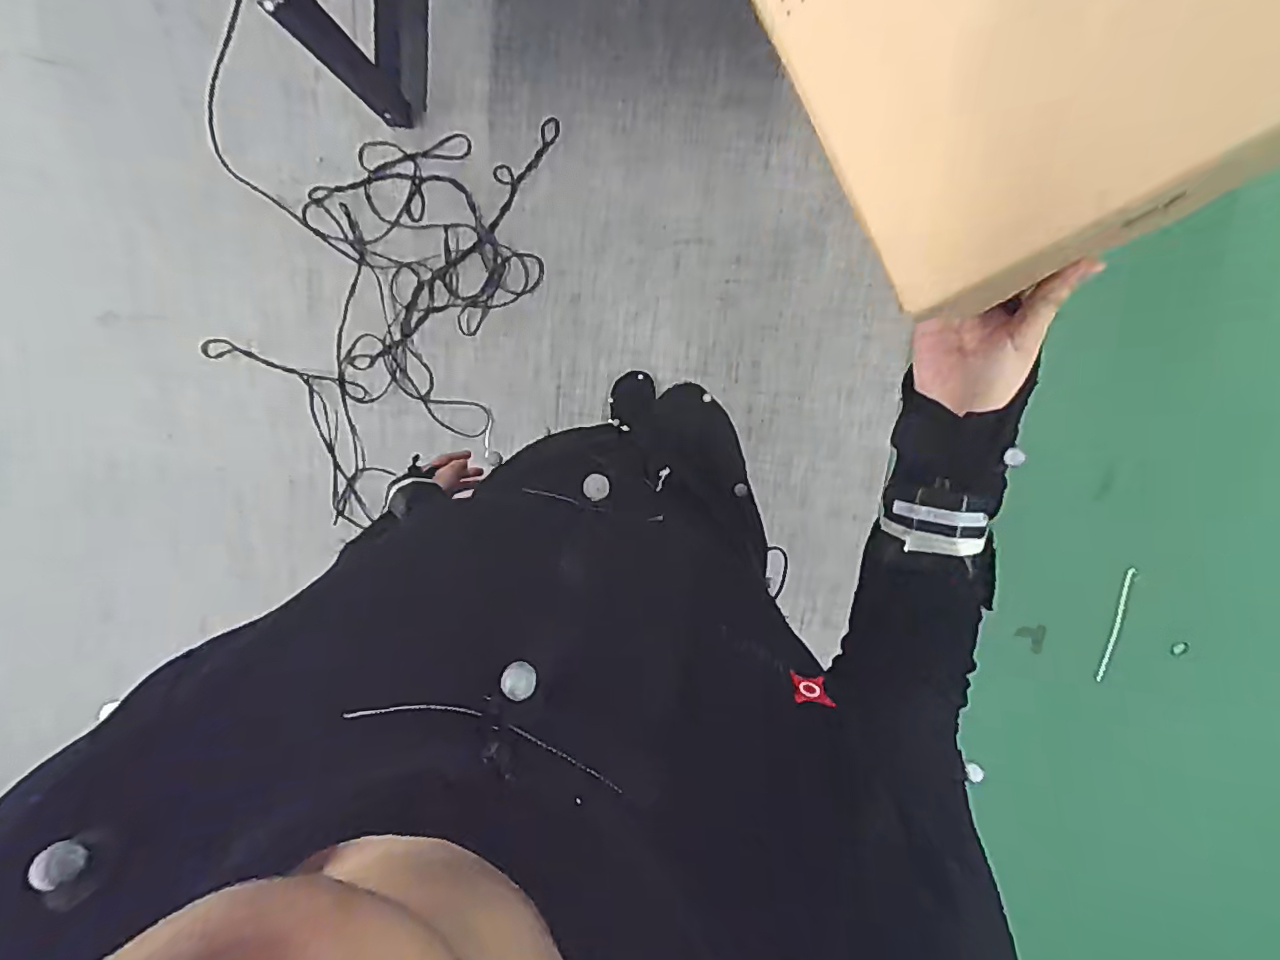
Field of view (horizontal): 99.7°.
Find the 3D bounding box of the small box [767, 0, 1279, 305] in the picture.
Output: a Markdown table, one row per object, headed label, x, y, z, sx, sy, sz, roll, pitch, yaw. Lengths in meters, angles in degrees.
| label | x | y | z | sx | sy | sz | roll | pitch | yaw |
| --- | --- | --- | --- | --- | --- | --- | --- | --- | --- |
| small box | 0.179 | -0.198 | 0.232 | 0.168 | 0.179 | 0.176 | -27 | 85 | 41 |
